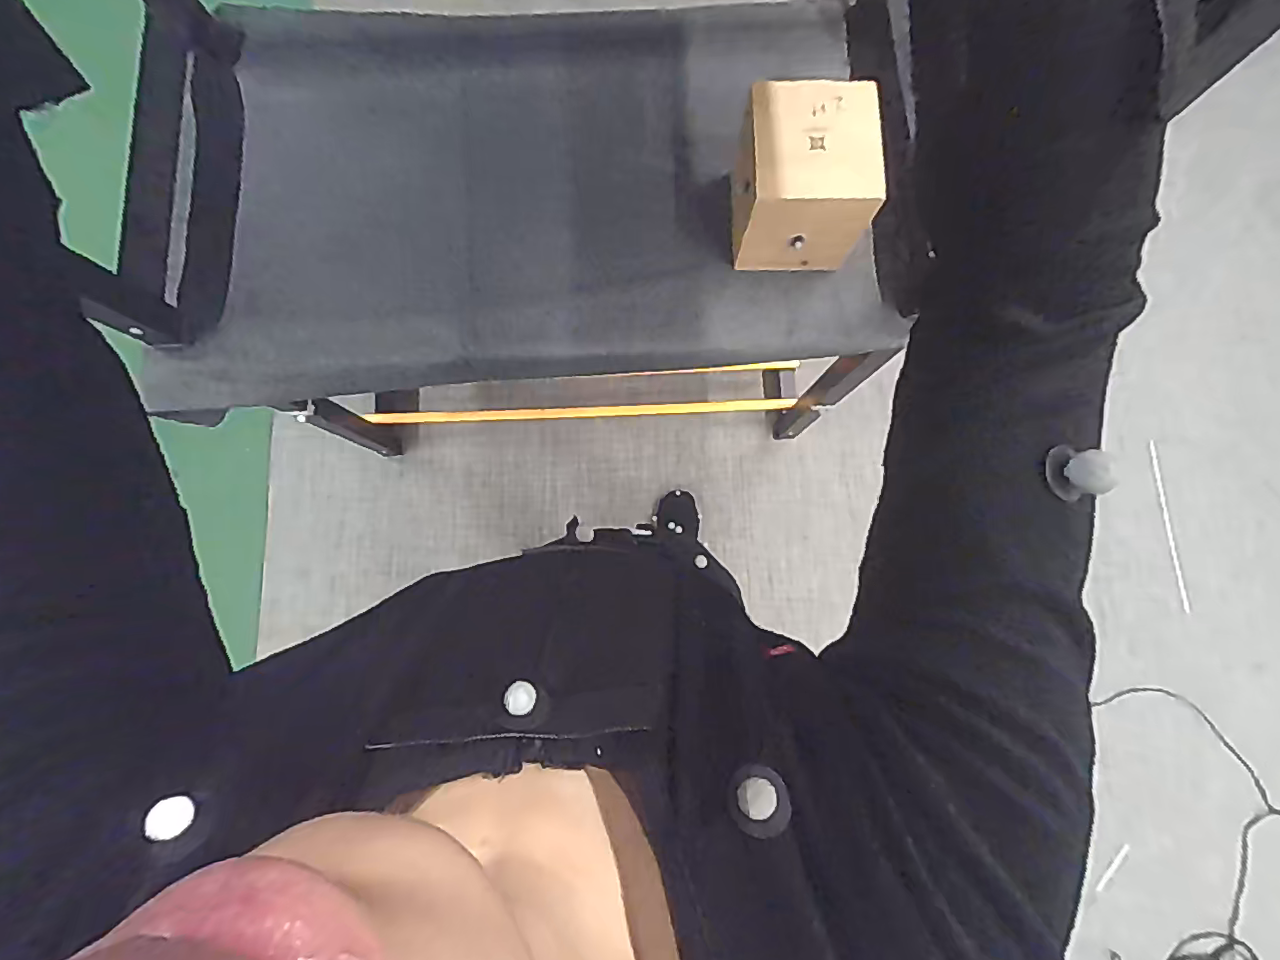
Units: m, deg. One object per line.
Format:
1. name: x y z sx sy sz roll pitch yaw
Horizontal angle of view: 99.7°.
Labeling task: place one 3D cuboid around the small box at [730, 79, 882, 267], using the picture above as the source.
1. small box: 0.226 -0.426 0.774 0.168 0.176 0.179 1 80 -1
